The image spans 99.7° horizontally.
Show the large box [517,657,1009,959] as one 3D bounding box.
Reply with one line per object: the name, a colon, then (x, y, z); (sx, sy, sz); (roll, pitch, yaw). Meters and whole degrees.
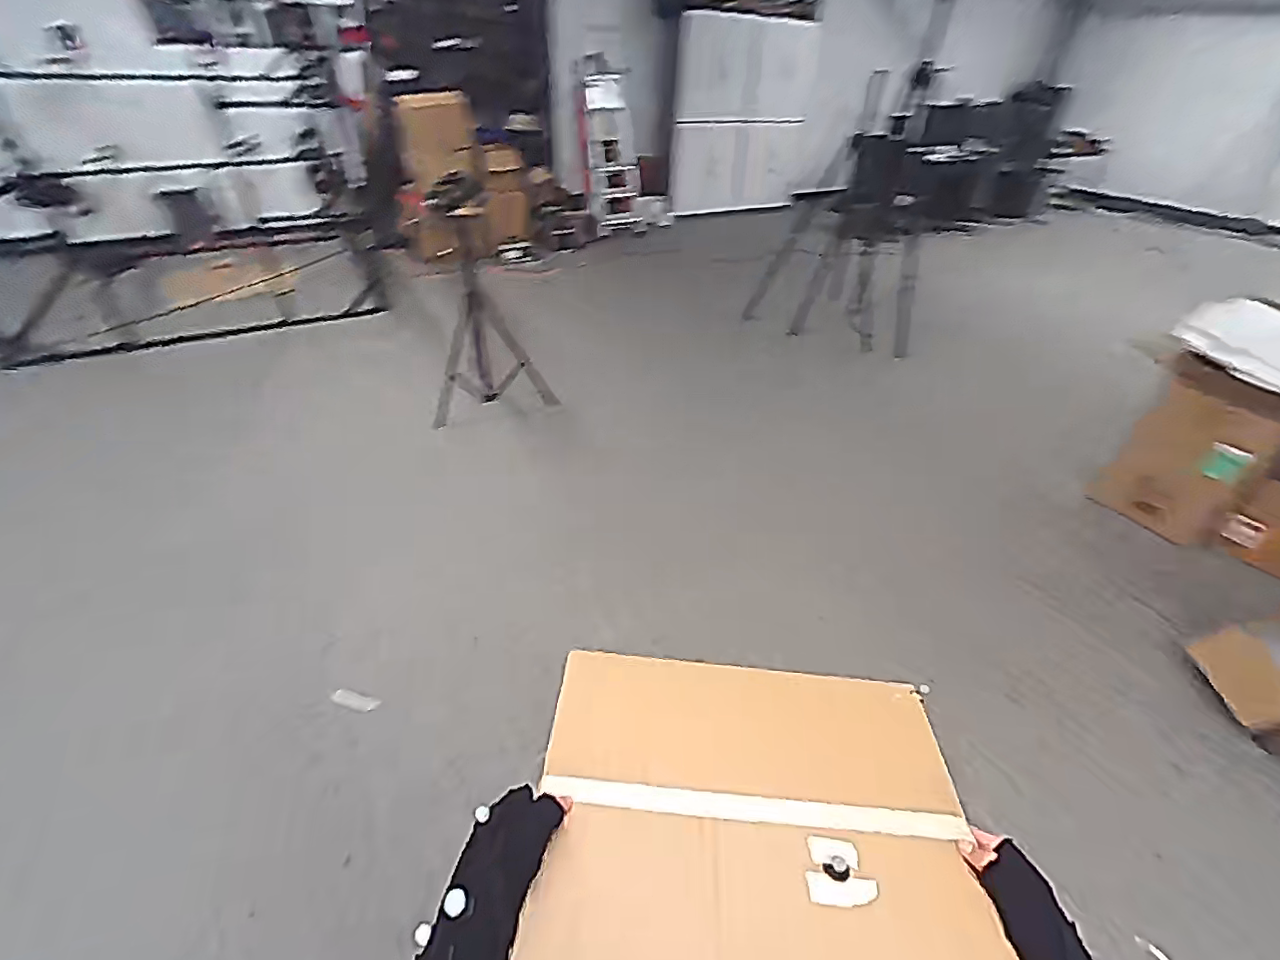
large box: (0.095, 0.434, 0.607); (0.408, 0.320, 0.320); (5, 36, 0)
